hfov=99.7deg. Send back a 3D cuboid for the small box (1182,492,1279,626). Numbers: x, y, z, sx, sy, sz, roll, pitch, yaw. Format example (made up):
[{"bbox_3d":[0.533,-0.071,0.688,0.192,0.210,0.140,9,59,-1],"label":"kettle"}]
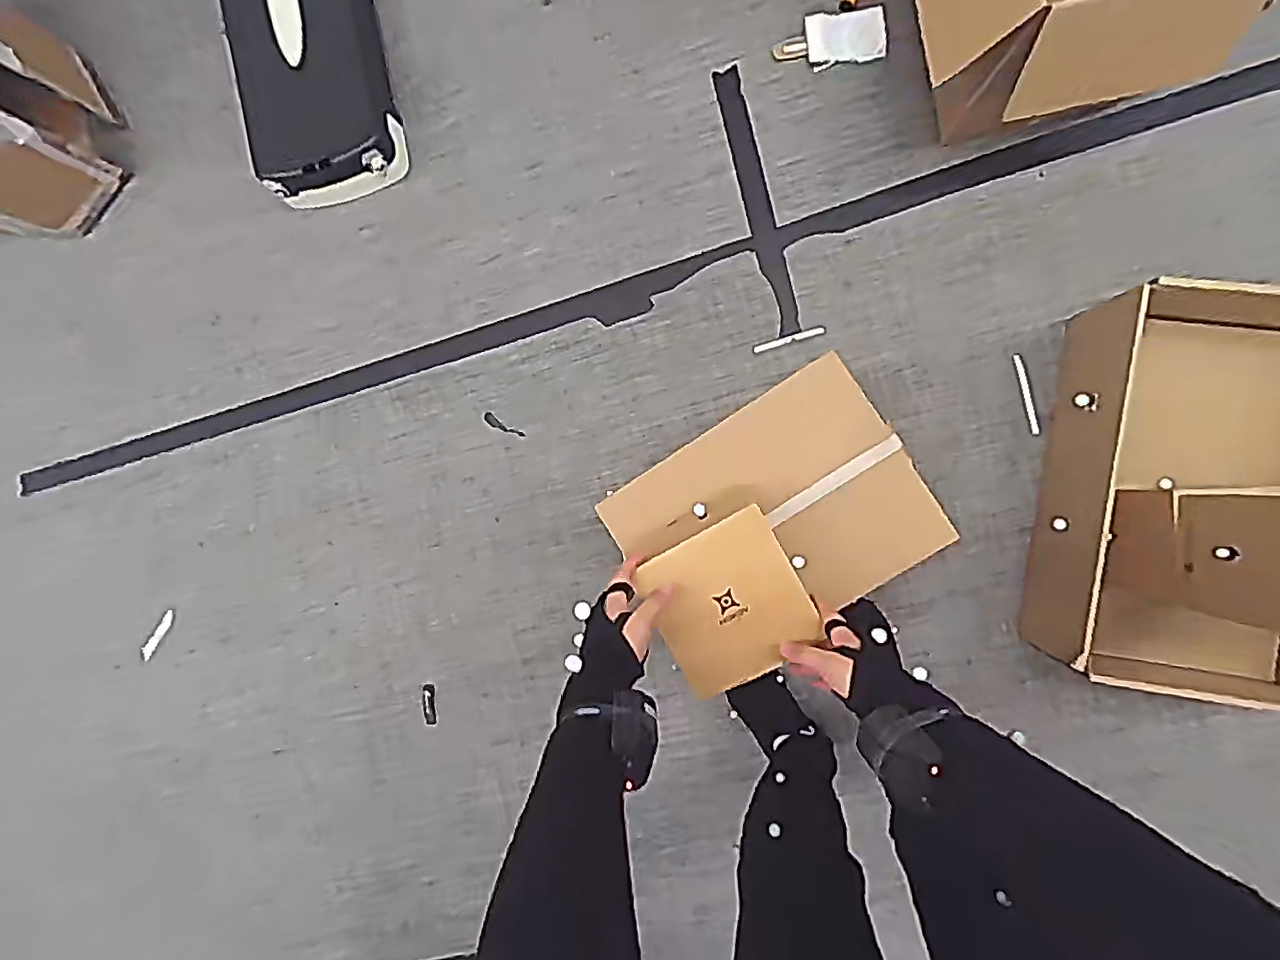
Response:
[{"bbox_3d":[0.849,0.102,0.684,0.179,0.176,0.168,3,90,6],"label":"small box"}]
